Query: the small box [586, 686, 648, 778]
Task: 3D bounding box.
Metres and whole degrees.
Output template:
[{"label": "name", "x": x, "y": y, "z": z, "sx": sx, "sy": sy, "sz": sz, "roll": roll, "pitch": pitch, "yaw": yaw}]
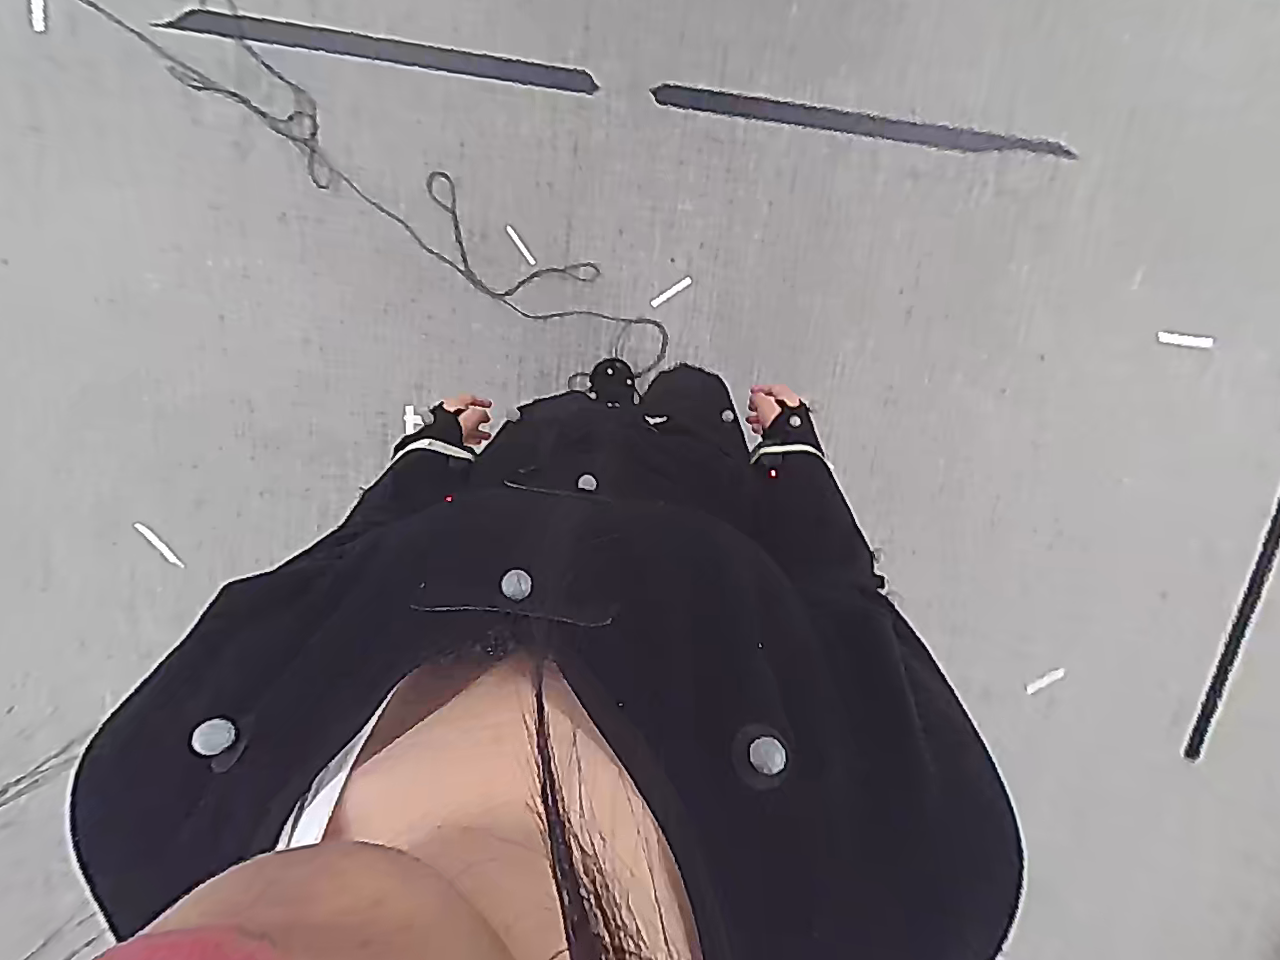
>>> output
[{"label": "small box", "x": -0.063, "y": 0.709, "z": 1.534, "sx": 0.168, "sy": 0.176, "sz": 0.179, "roll": -3, "pitch": 101, "yaw": -1}]
